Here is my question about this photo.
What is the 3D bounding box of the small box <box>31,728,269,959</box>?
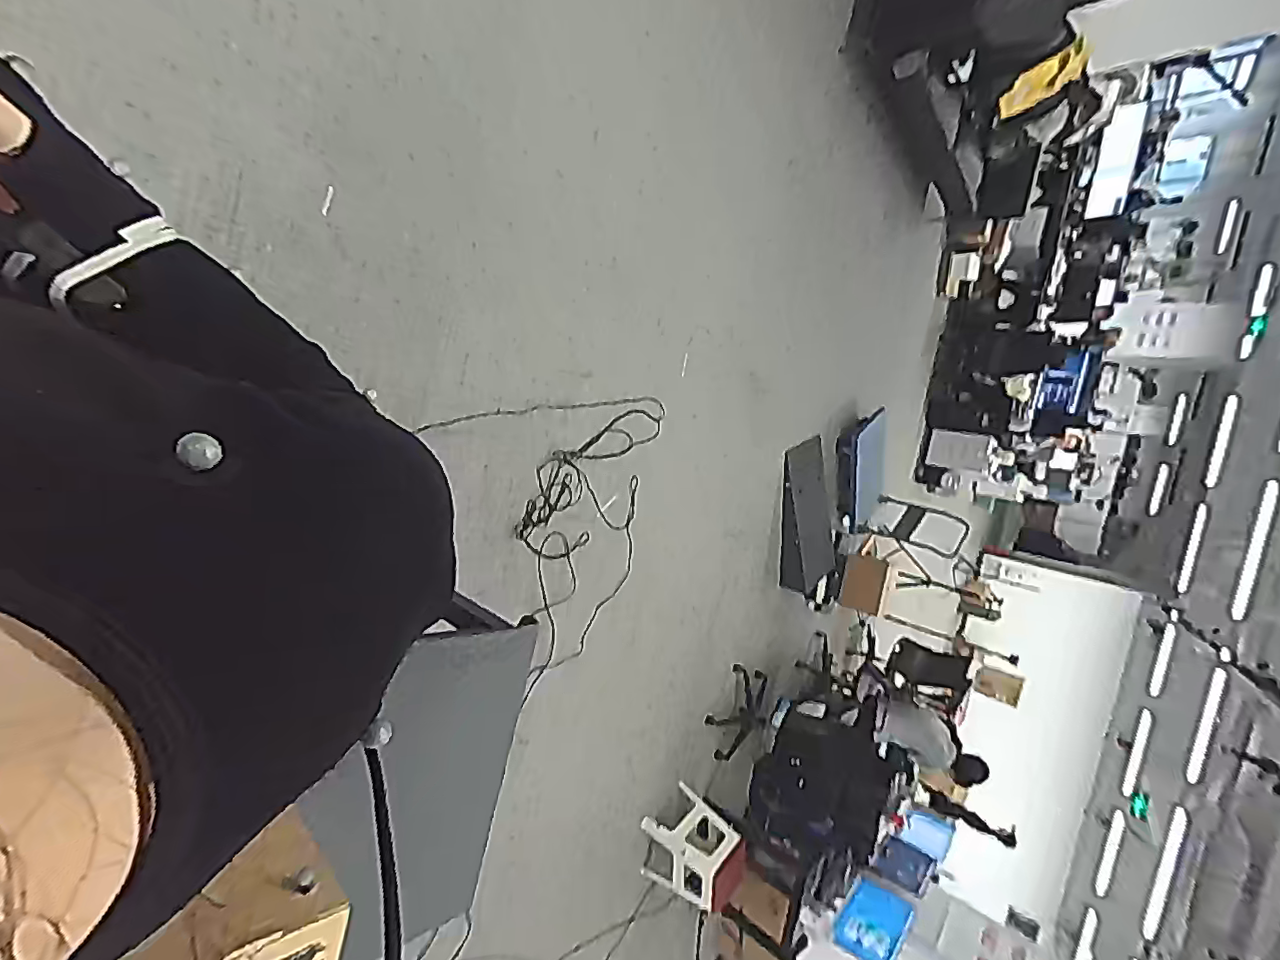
[{"bbox_3d":[-0.566,0.425,0.624,0.168,0.176,0.179,10,95,-53],"label":"small box"}]
